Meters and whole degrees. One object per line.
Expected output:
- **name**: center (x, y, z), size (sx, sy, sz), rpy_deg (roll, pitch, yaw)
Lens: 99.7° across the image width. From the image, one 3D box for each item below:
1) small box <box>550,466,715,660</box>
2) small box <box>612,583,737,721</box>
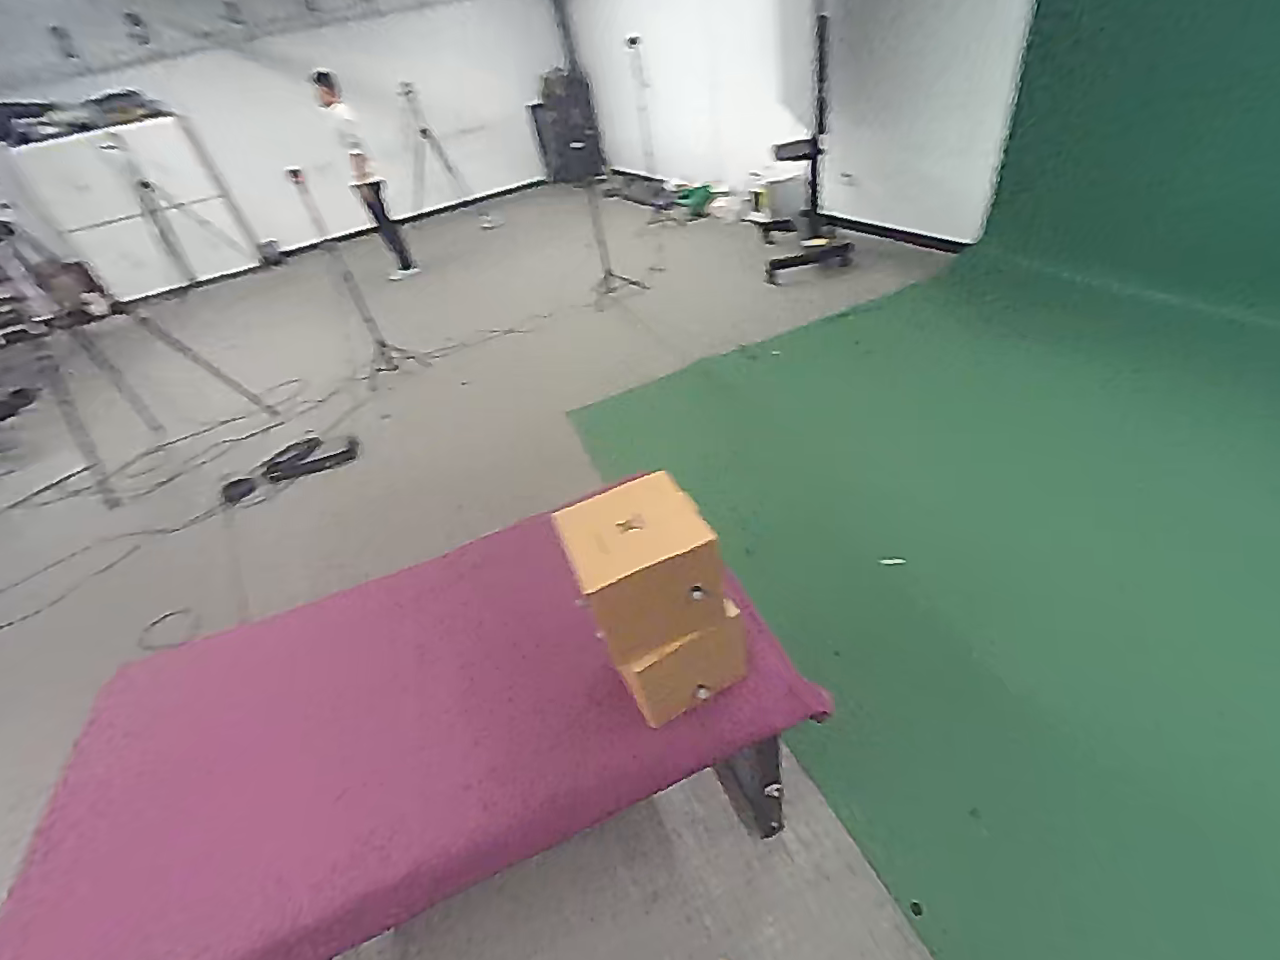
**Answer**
- **small box**: center (-0.005, 0.115, 0.757), size (0.179, 0.176, 0.168), rpy_deg (-22, 40, -9)
- **small box**: center (0.038, 0.238, 0.856), size (0.179, 0.176, 0.168), rpy_deg (-25, 40, -15)
